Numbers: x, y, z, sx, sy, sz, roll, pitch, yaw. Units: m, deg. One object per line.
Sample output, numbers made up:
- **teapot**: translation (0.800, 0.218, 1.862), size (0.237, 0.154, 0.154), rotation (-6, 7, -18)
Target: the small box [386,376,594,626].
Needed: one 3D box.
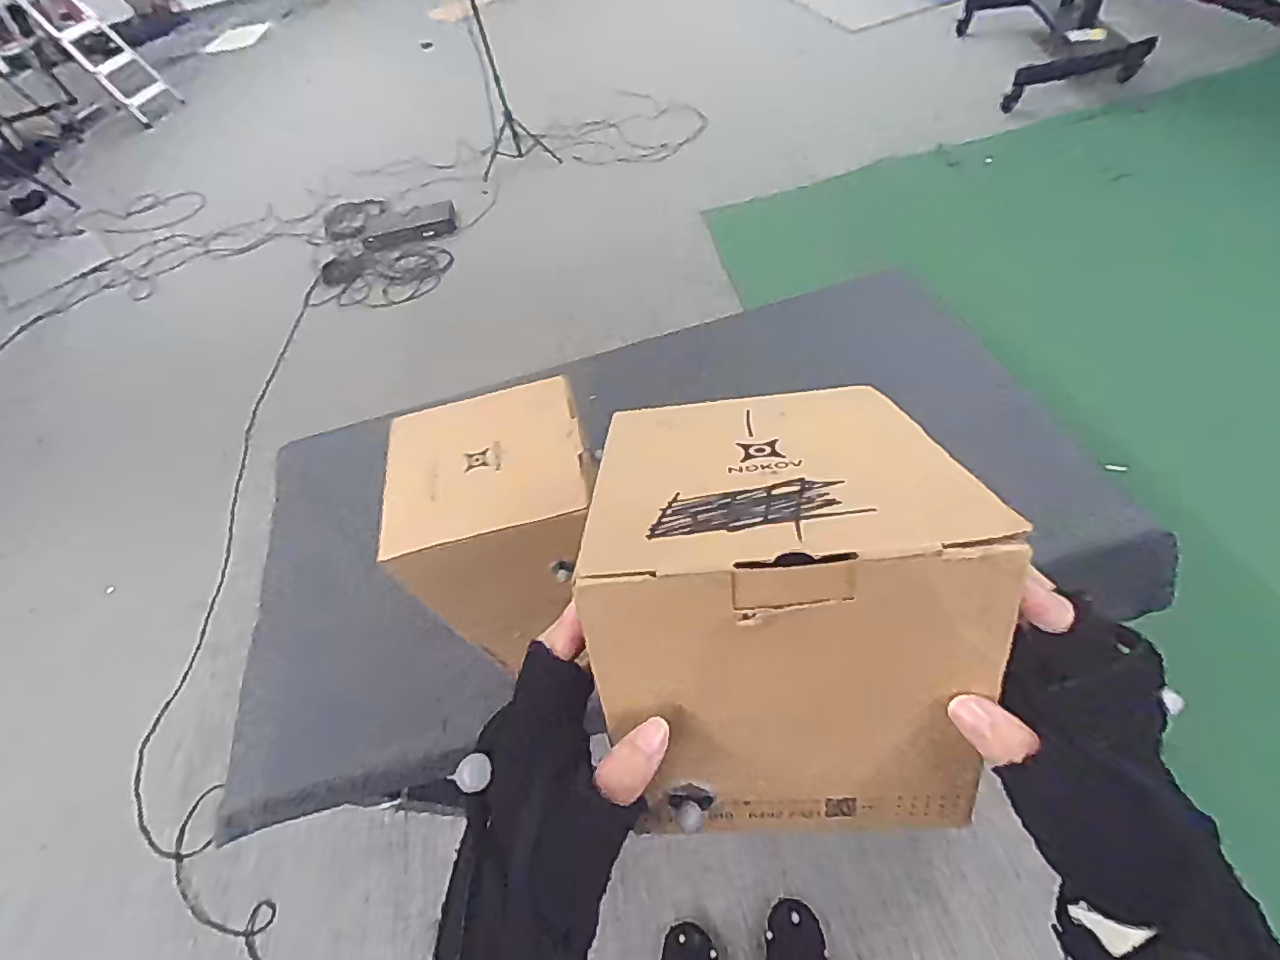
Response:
- **small box**: translation (-0.127, 0.027, 0.551), size (0.179, 0.176, 0.168), rotation (-15, 52, 0)

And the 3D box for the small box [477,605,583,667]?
- **small box**: translation (-0.104, 0.118, 0.683), size (0.179, 0.176, 0.168), rotation (-14, 53, 0)

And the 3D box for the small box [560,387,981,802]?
- **small box**: translation (0.064, 0.060, 0.316), size (0.168, 0.176, 0.179), rotation (-5, 27, 6)
